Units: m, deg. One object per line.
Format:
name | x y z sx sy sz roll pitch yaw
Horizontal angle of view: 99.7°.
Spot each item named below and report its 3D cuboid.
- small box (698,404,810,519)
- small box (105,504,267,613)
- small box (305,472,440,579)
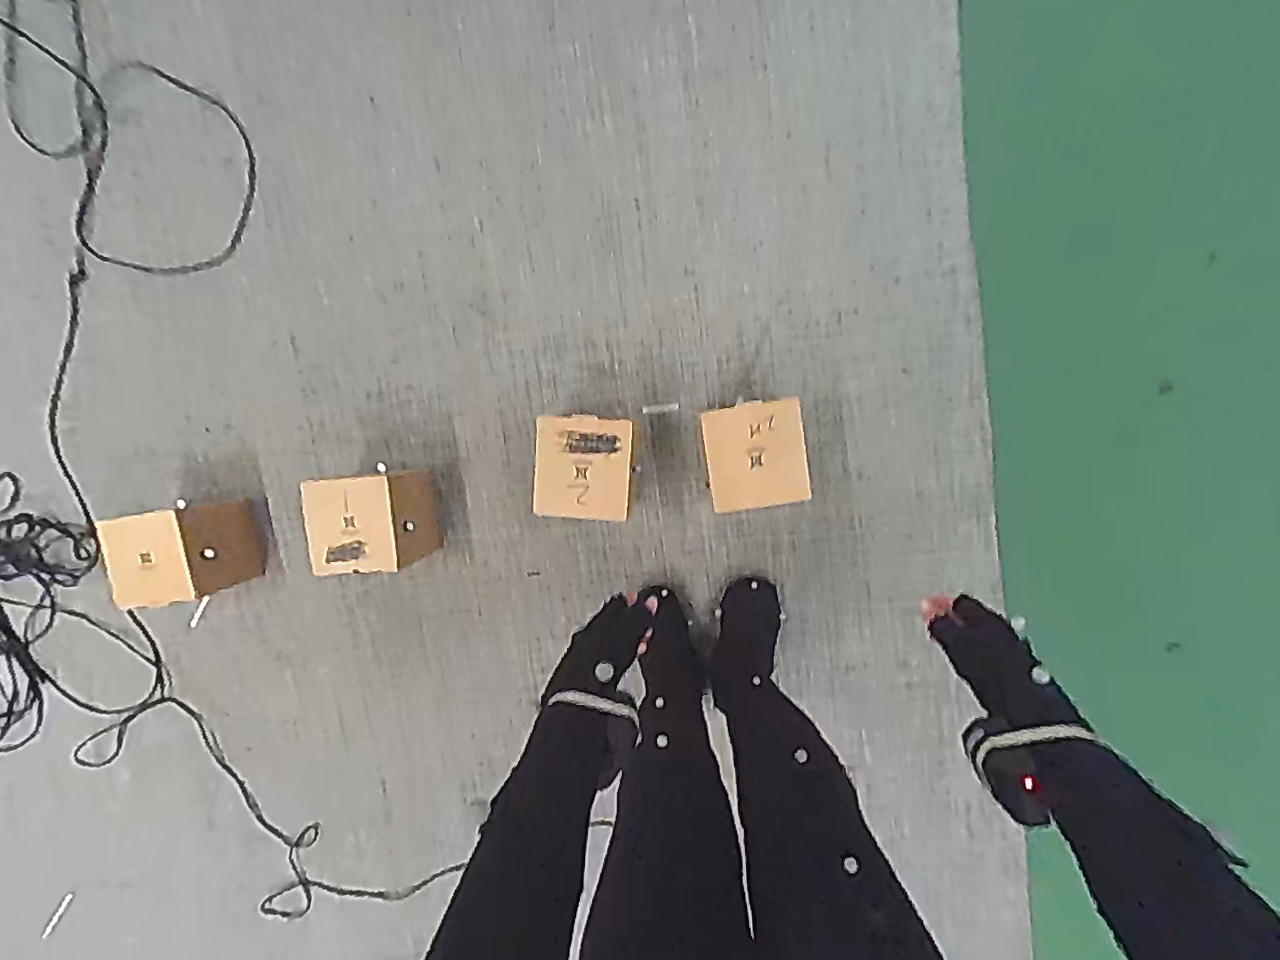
small box | 0.199 -0.039 0.980 0.168 0.176 0.179 -9 95 4
small box | -0.901 0.148 1.090 0.168 0.176 0.179 -9 95 6
small box | -0.506 0.082 1.047 0.168 0.176 0.179 -4 95 6
